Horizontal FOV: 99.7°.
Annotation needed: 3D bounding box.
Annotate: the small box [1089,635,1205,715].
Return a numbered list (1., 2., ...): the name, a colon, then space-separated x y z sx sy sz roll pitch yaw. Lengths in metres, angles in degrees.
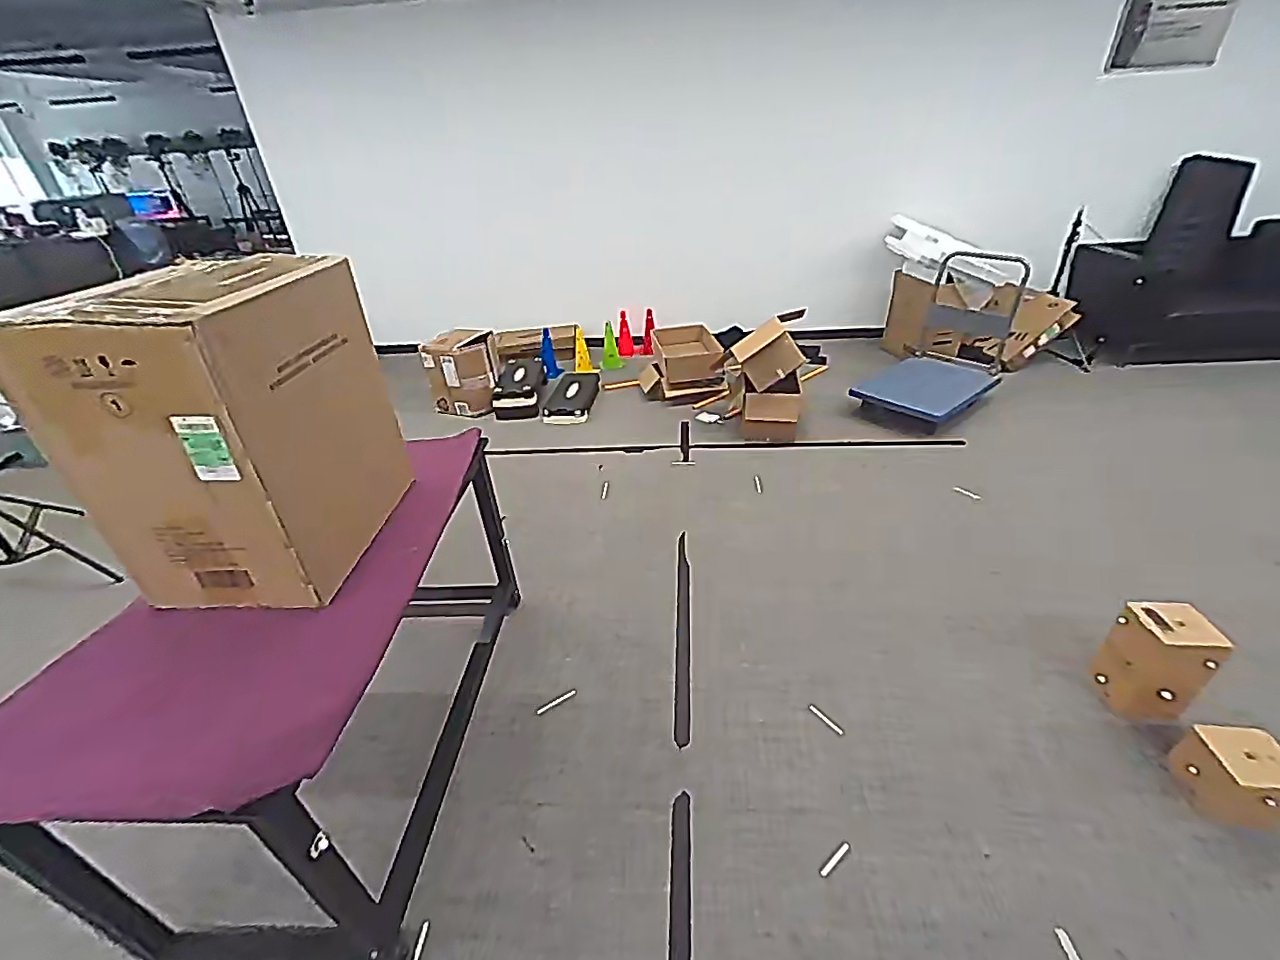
1. small box: 1.543 0.599 1.660 0.179 0.176 0.168 0 32 7

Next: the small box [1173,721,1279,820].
1. small box: 1.551 0.754 1.403 0.179 0.176 0.168 1 33 7
